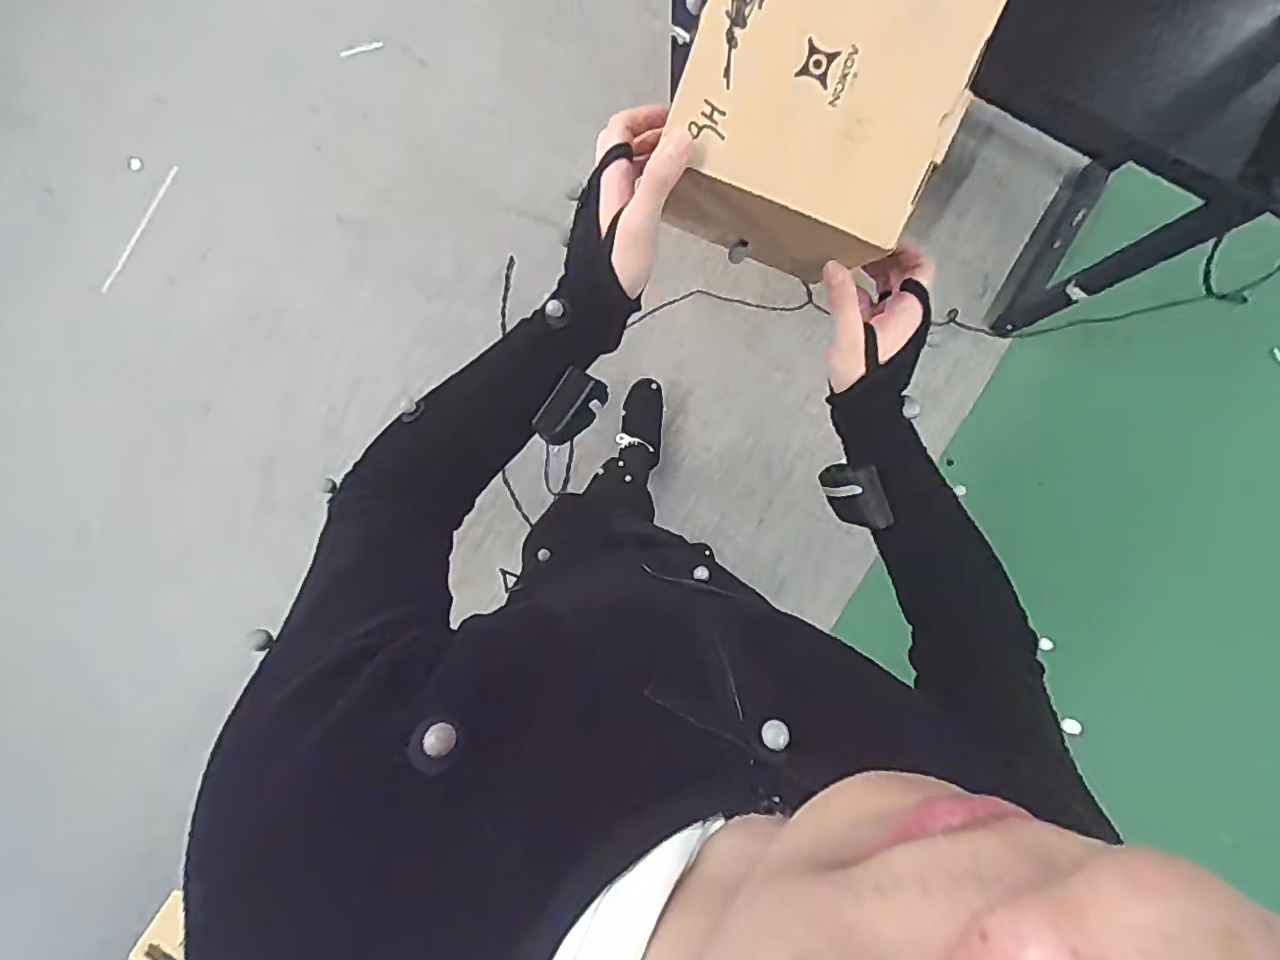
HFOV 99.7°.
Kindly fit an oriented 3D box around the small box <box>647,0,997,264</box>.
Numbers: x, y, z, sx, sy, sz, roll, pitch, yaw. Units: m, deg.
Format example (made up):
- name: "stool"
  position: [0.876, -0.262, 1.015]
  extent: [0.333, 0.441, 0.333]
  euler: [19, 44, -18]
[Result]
- name: "small box"
  position: [0.114, -0.282, 0.417]
  extent: [0.179, 0.176, 0.168]
  euler: [20, 101, -5]
